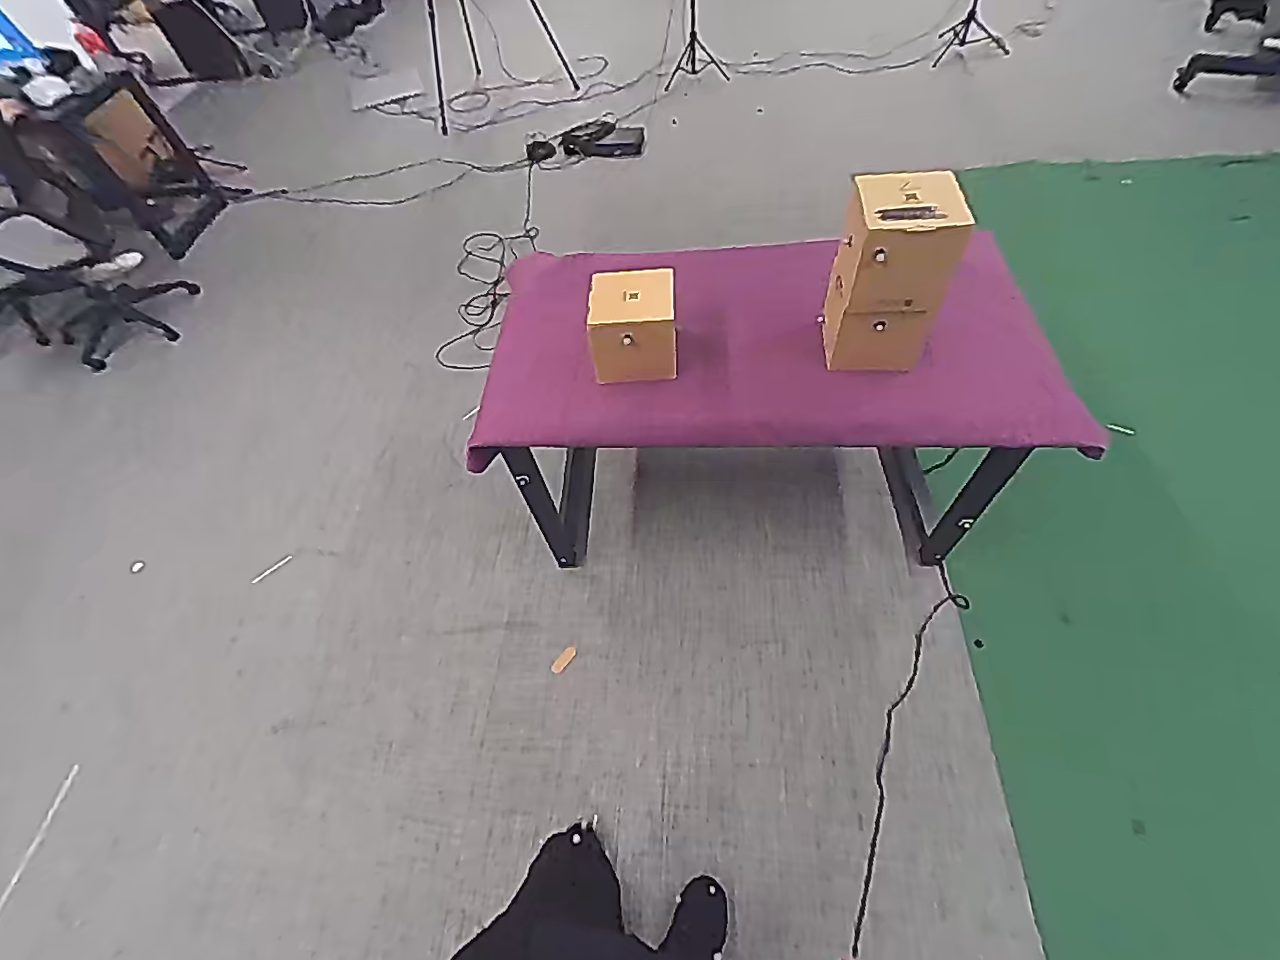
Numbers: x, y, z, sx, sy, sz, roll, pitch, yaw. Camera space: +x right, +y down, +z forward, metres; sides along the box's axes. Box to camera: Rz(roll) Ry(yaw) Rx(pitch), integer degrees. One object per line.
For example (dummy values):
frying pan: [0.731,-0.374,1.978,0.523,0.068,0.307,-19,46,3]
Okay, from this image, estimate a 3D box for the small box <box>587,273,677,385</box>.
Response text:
small box: [-0.009,-0.323,1.176,0.179,0.176,0.168,-2,56,6]

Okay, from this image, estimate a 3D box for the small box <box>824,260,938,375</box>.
small box: [0.487,-0.335,1.126,0.179,0.176,0.168,2,56,7]
